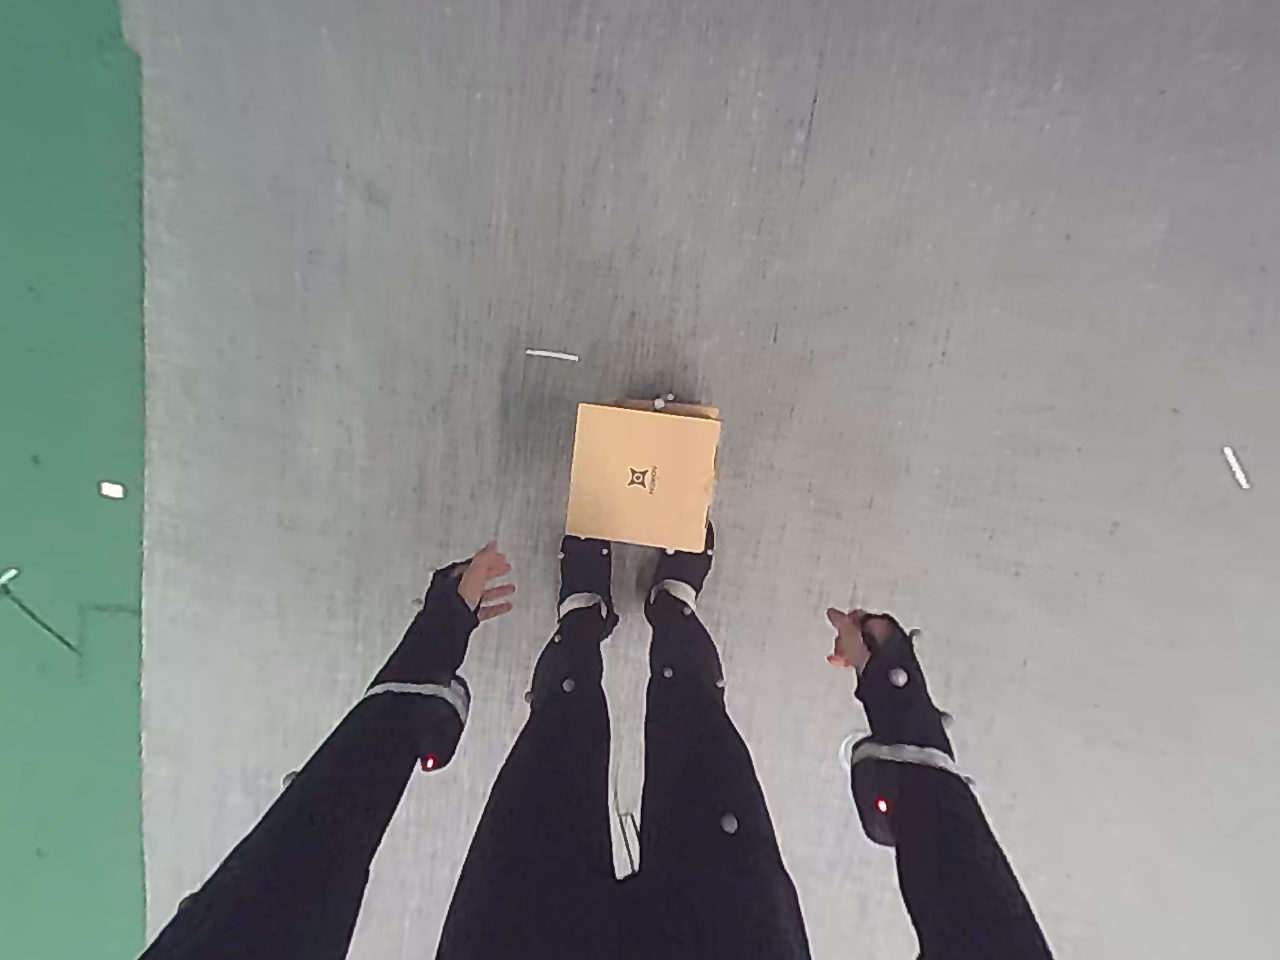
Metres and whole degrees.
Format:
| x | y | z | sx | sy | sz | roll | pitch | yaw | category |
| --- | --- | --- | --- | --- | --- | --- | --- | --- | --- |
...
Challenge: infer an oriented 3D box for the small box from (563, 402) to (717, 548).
| x | y | z | sx | sy | sz | roll | pitch | yaw | category |
| --- | --- | --- | --- | --- | --- | --- | --- | --- | --- |
| 0.002 | -0.014 | 0.751 | 0.179 | 0.176 | 0.168 | 7 | 98 | 1 | small box |

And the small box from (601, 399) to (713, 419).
| x | y | z | sx | sy | sz | roll | pitch | yaw | category |
| --- | --- | --- | --- | --- | --- | --- | --- | --- | --- |
| 0.022 | -0.047 | 0.910 | 0.179 | 0.176 | 0.168 | 6 | 97 | 3 | small box |
